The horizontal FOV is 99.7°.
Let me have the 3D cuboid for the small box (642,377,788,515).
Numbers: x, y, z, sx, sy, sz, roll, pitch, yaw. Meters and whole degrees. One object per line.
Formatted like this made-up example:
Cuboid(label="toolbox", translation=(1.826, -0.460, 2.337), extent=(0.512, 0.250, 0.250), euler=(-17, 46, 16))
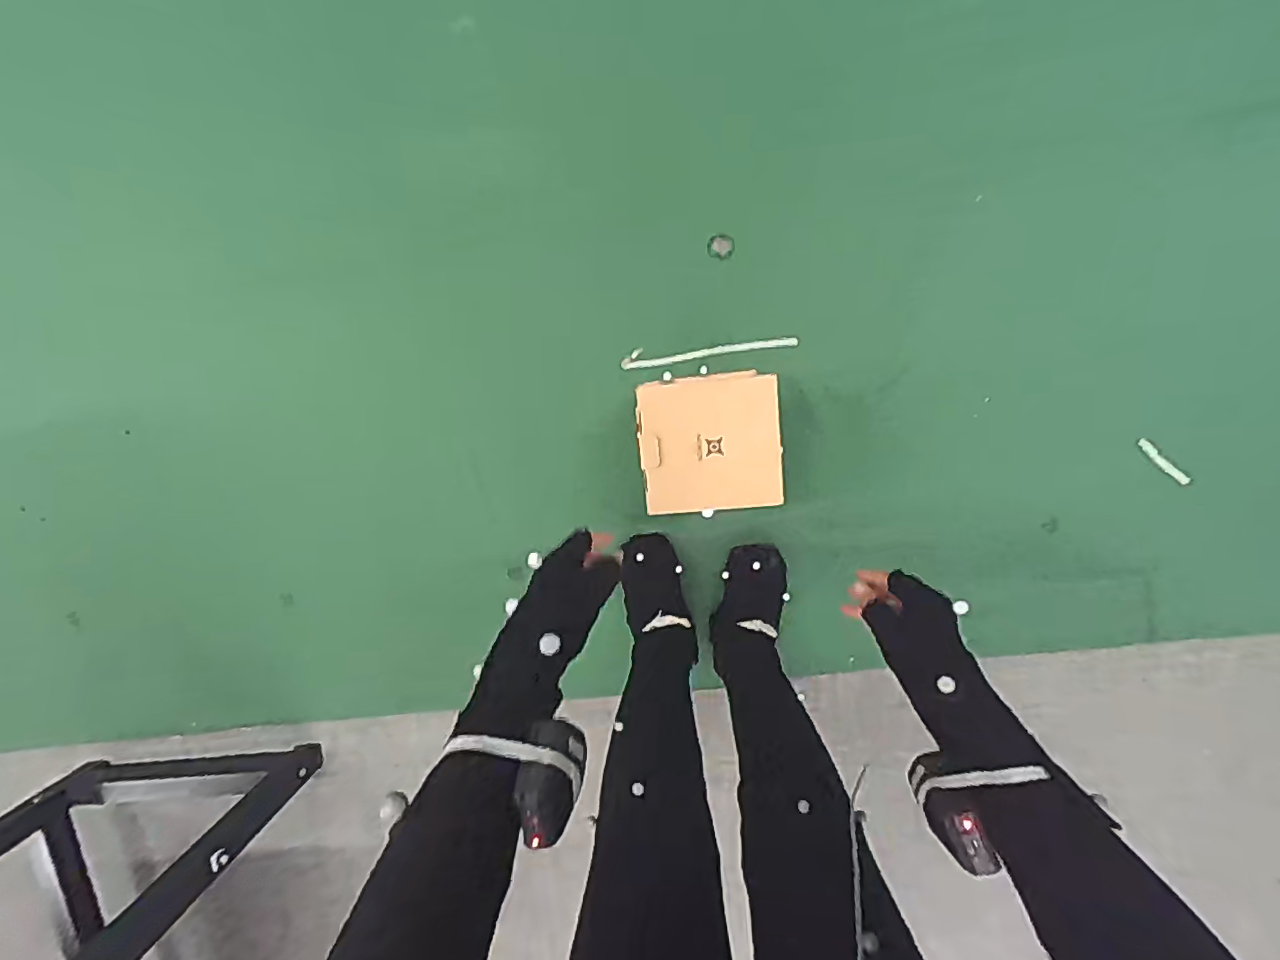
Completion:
Cuboid(label="small box", translation=(0.099, -0.055, 0.754), extent=(0.179, 0.176, 0.168), euler=(-5, 100, 5))
